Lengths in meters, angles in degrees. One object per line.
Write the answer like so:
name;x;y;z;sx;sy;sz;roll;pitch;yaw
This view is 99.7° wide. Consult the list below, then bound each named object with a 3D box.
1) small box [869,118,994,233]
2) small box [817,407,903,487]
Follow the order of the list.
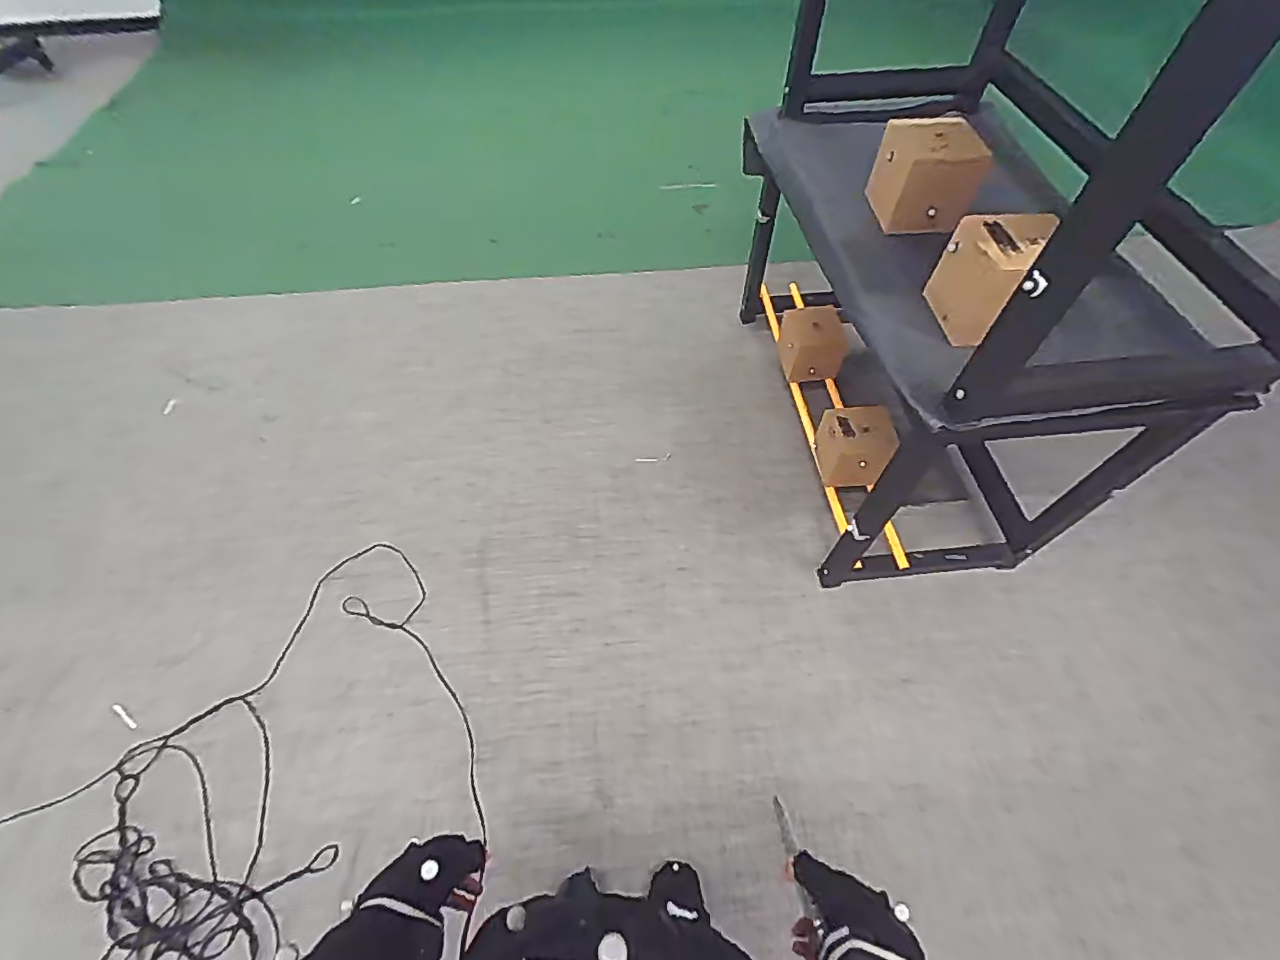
small box;0.636;-0.679;1.210;0.168;0.176;0.179;-3;56;-1
small box;0.626;-0.092;1.567;0.179;0.176;0.168;-3;57;0
